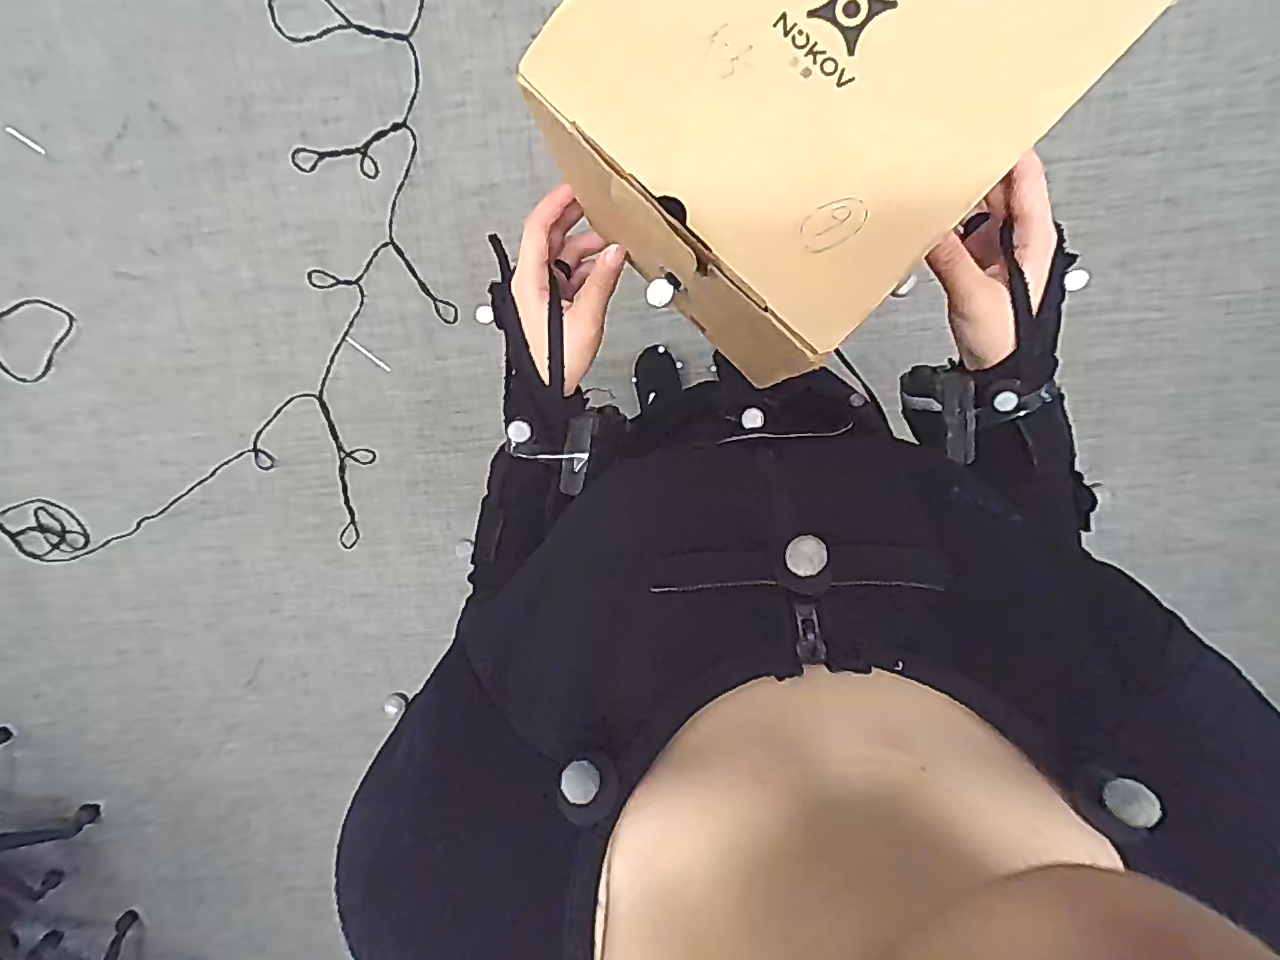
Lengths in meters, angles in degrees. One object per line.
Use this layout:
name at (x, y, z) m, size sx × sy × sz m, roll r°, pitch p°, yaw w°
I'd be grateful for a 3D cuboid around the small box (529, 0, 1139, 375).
small box at (0.077, -0.173, 0.290) m, size 0.168 × 0.176 × 0.179 m, roll 43°, pitch 99°, yaw -1°
